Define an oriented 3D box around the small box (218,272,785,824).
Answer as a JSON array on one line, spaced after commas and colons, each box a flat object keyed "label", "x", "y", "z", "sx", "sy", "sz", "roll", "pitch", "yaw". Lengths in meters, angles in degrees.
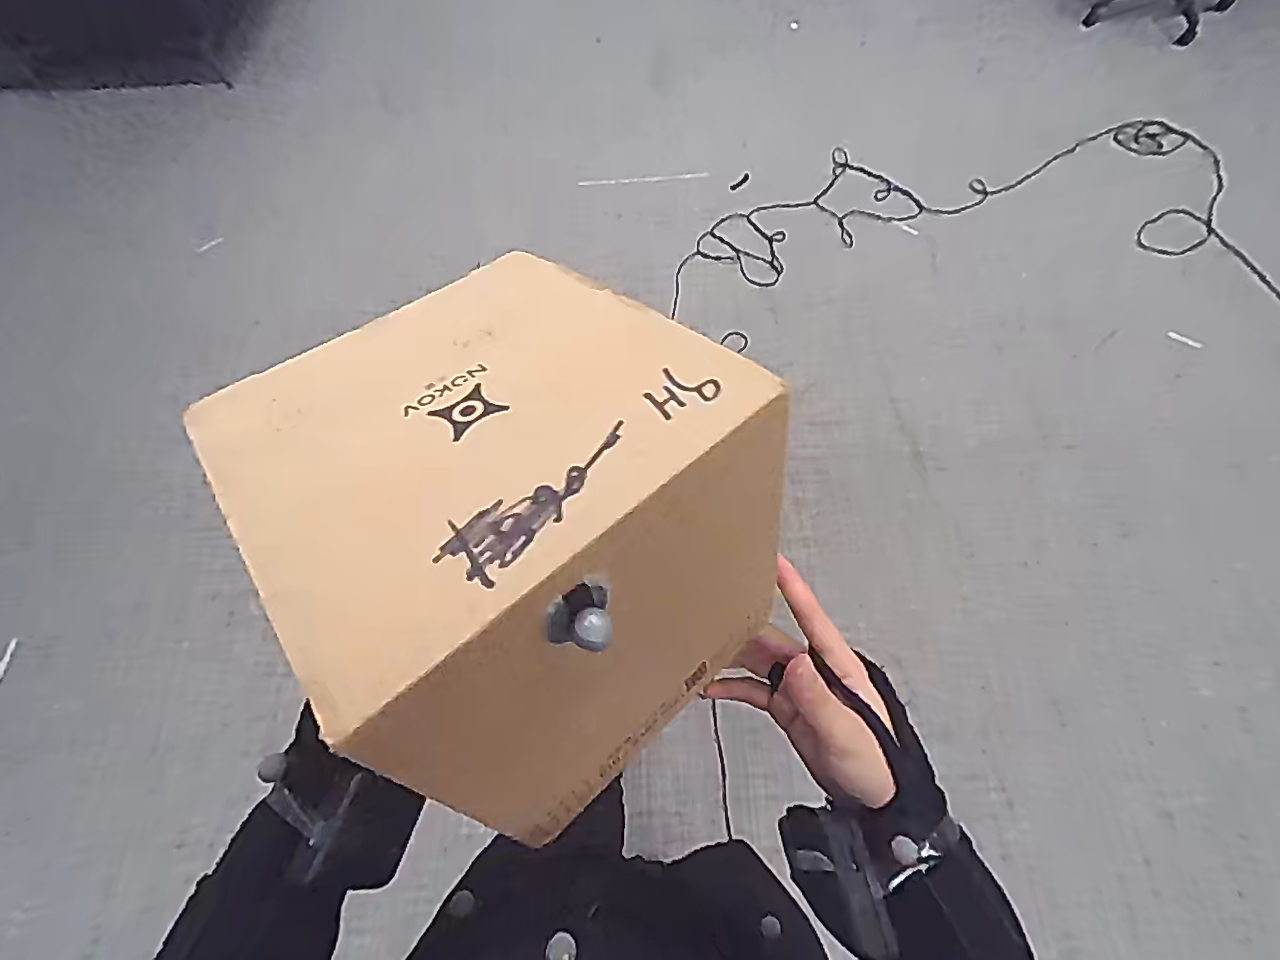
[{"label": "small box", "x": -0.051, "y": 0.029, "z": 0.268, "sx": 0.168, "sy": 0.176, "sz": 0.179, "roll": -39, "pitch": 53, "yaw": -21}]
